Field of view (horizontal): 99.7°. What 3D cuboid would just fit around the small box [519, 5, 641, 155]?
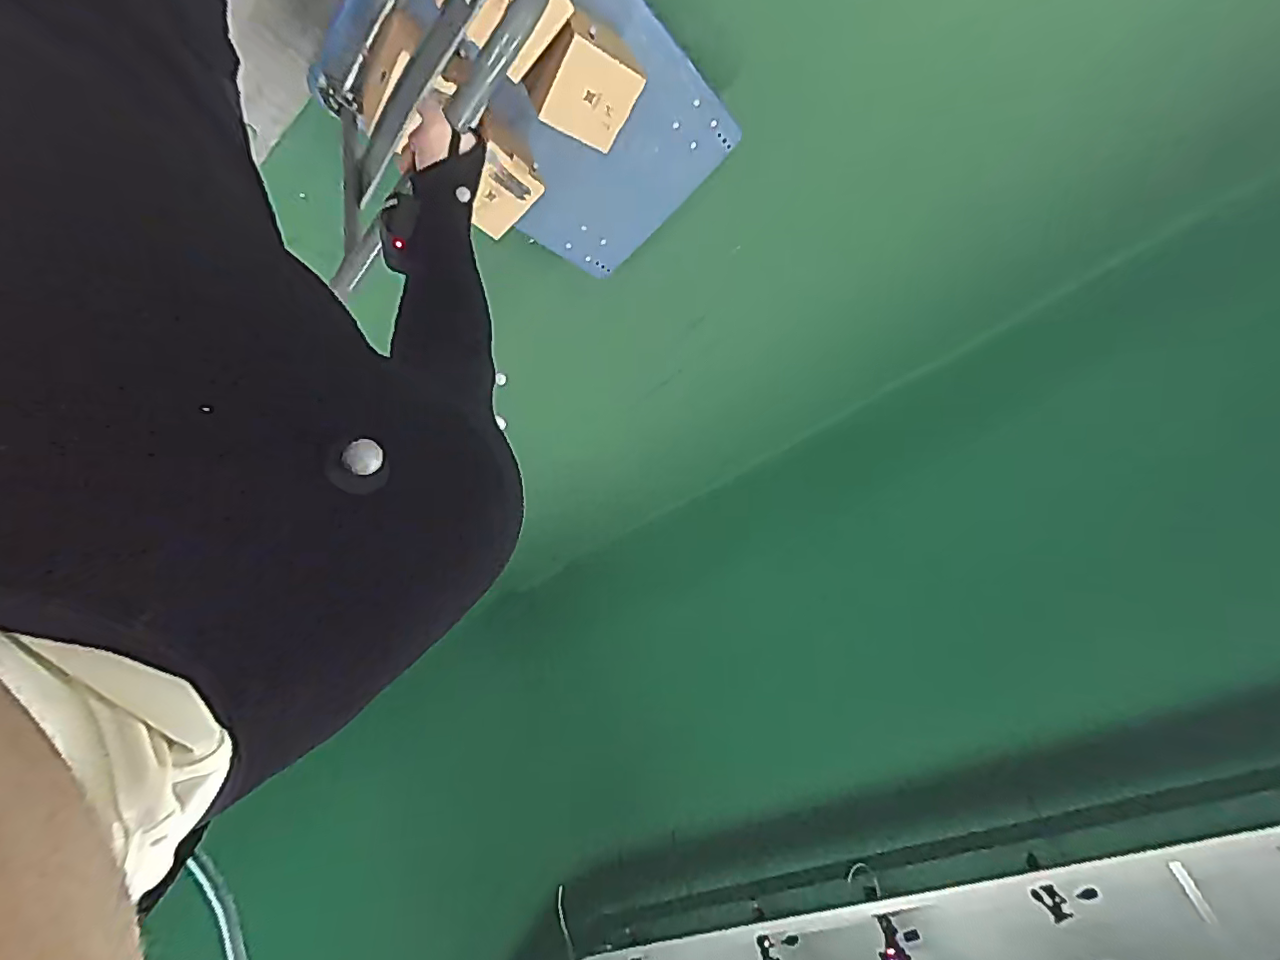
[{"bbox_3d":[-0.133,-0.832,1.125,0.179,0.176,0.168,2,147,-39],"label":"small box"}]
